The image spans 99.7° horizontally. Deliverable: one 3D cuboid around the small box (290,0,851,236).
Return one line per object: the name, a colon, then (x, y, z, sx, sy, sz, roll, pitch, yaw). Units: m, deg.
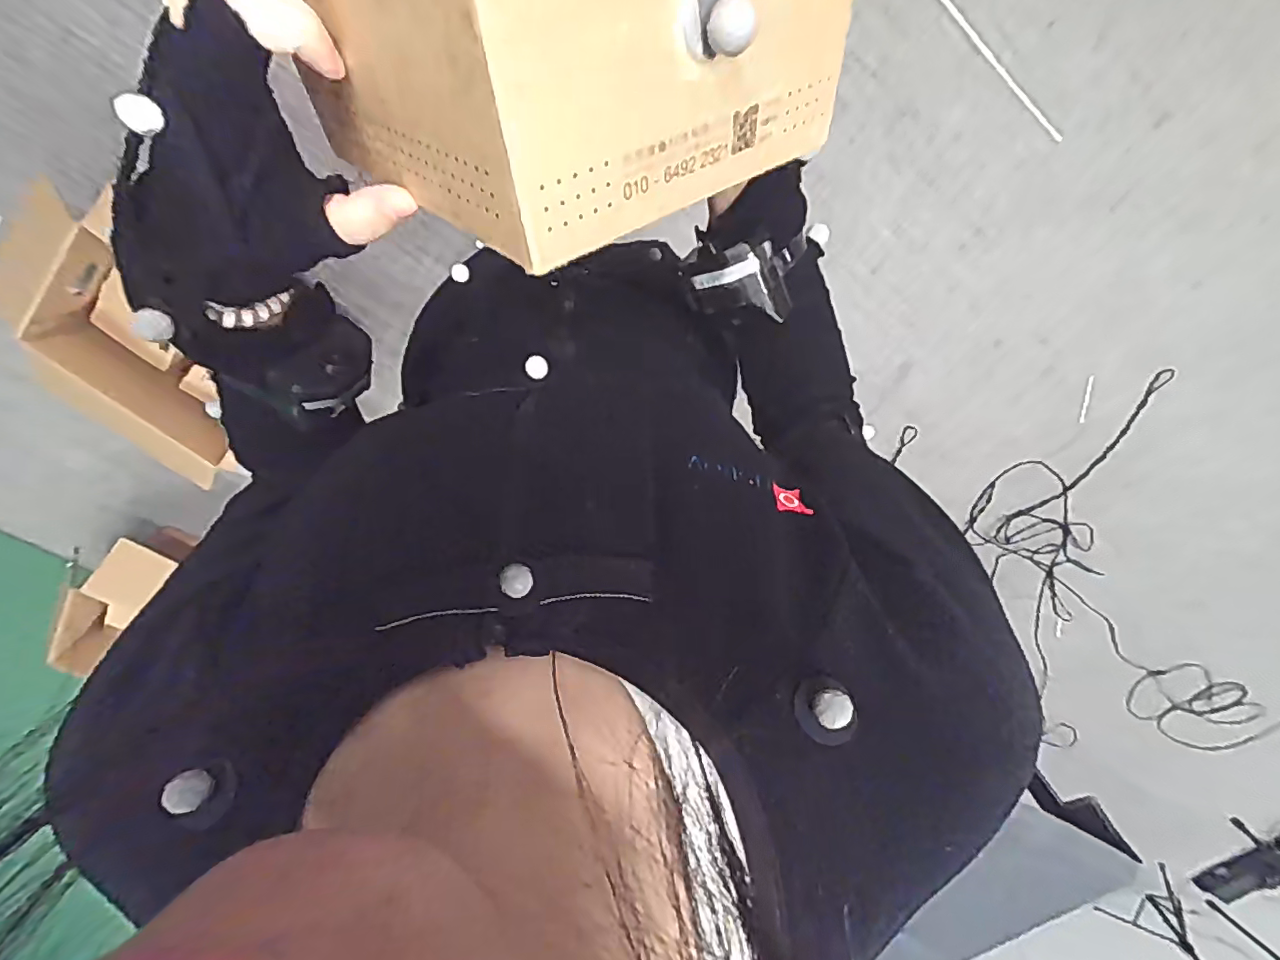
small box: (-0.034, -0.214, 0.195, 0.168, 0.179, 0.176, -36, 146, -24)
